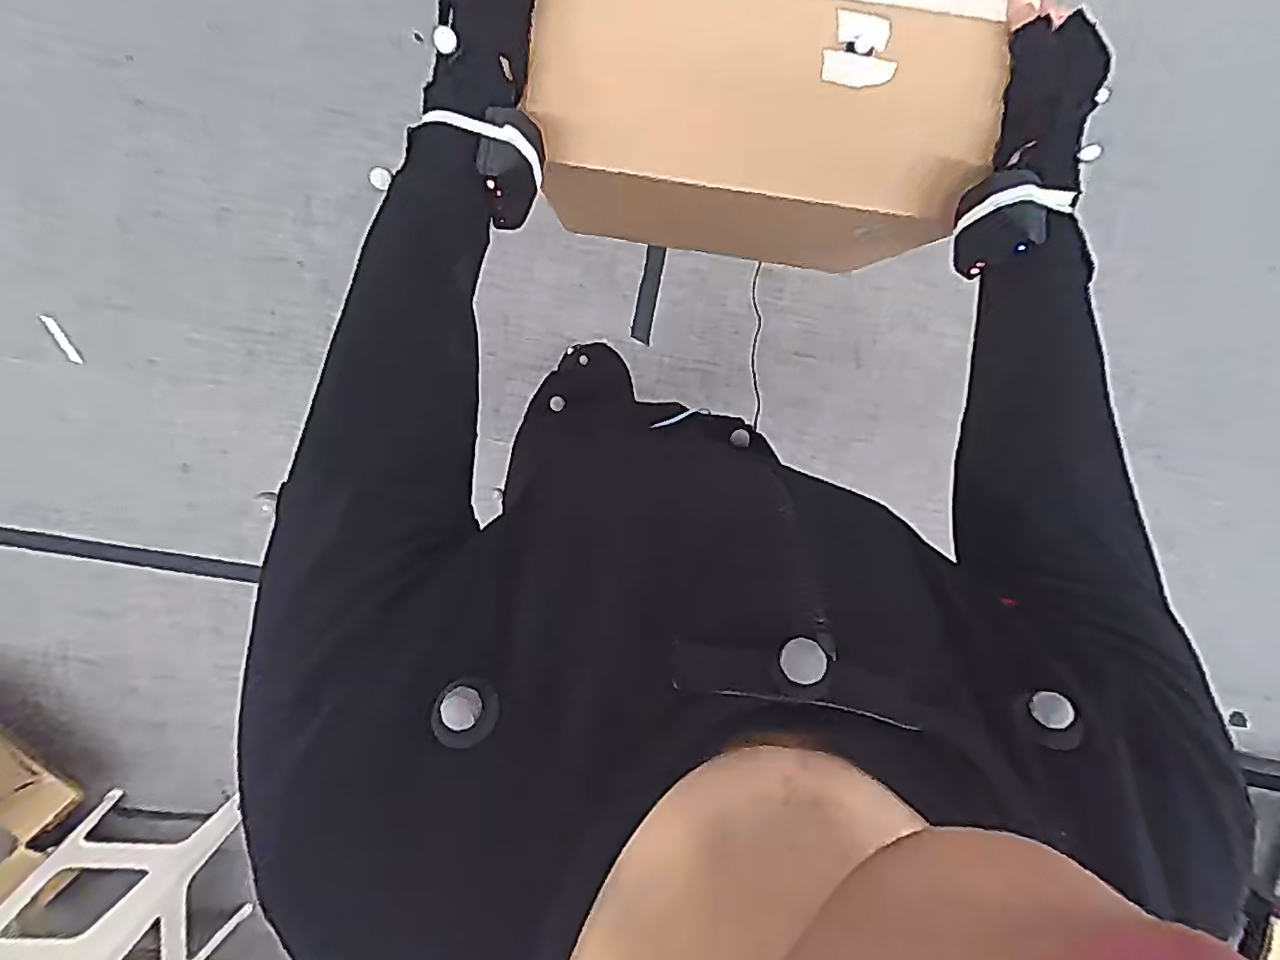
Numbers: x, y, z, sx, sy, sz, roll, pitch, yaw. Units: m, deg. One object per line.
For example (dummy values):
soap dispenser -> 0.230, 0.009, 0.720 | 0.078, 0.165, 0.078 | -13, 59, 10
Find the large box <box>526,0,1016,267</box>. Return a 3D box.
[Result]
large box -> 0.108, -0.438, 0.587 | 0.408, 0.320, 0.320 | 7, 104, -3
